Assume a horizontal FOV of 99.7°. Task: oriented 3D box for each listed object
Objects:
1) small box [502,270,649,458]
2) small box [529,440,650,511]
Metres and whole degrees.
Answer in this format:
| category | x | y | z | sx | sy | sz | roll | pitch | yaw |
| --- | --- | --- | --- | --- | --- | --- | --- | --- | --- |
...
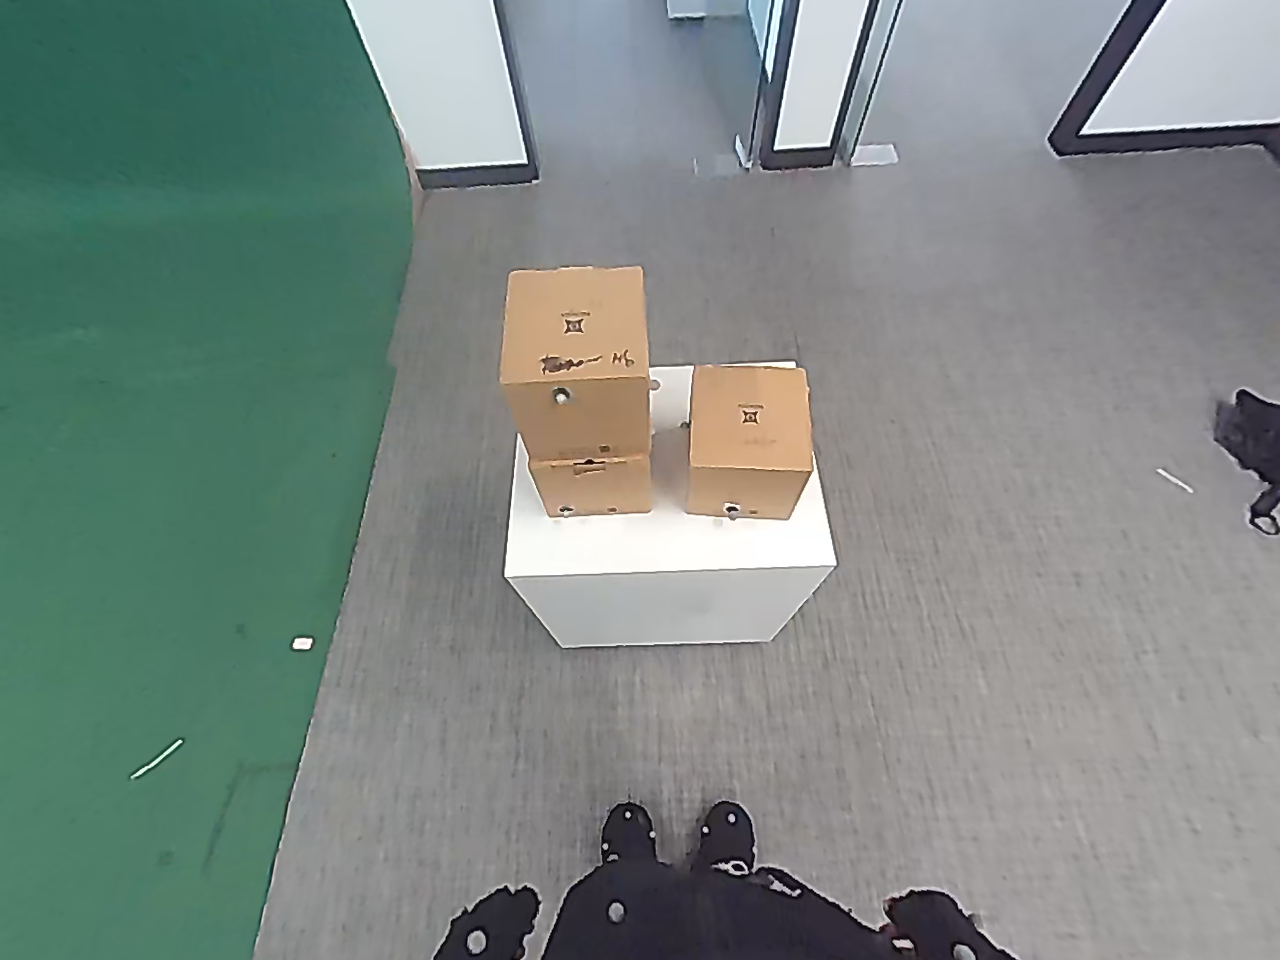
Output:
| category | x | y | z | sx | sy | sz | roll | pitch | yaw |
| --- | --- | --- | --- | --- | --- | --- | --- | --- | --- |
| small box | -0.074 | -0.147 | 0.710 | 0.168 | 0.176 | 0.179 | -3 | 61 | 1 |
| small box | -0.071 | -0.059 | 0.848 | 0.168 | 0.176 | 0.179 | -3 | 61 | 0 |
